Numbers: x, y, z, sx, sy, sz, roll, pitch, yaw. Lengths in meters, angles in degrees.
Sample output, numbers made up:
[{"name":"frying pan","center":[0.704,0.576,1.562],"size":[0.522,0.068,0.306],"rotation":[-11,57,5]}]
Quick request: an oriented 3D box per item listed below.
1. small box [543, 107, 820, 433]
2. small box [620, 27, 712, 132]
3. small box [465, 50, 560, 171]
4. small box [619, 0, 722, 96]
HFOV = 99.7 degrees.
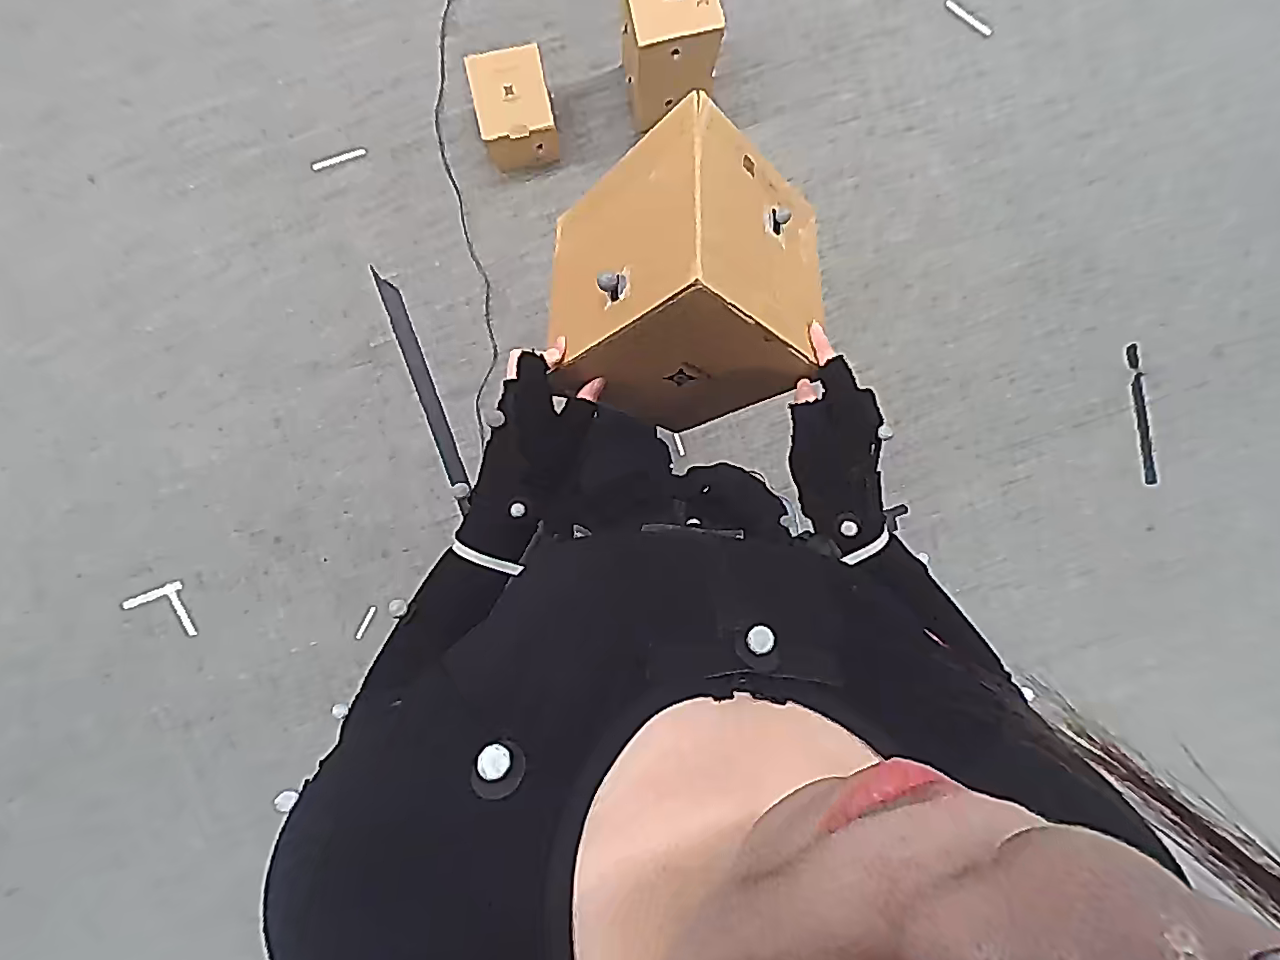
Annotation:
[{"name":"small box","center":[0.037,-0.164,0.477],"size":[0.168,0.179,0.176],"rotation":[18,64,-40]},{"name":"small box","center":[0.058,-0.955,1.270],"size":[0.179,0.176,0.168],"rotation":[-15,99,1]},{"name":"small box","center":[-0.291,-0.856,1.275],"size":[0.168,0.176,0.179],"rotation":[-12,98,-1]},{"name":"small box","center":[0.055,-0.928,1.107],"size":[0.179,0.176,0.168],"rotation":[-13,98,-1]}]
